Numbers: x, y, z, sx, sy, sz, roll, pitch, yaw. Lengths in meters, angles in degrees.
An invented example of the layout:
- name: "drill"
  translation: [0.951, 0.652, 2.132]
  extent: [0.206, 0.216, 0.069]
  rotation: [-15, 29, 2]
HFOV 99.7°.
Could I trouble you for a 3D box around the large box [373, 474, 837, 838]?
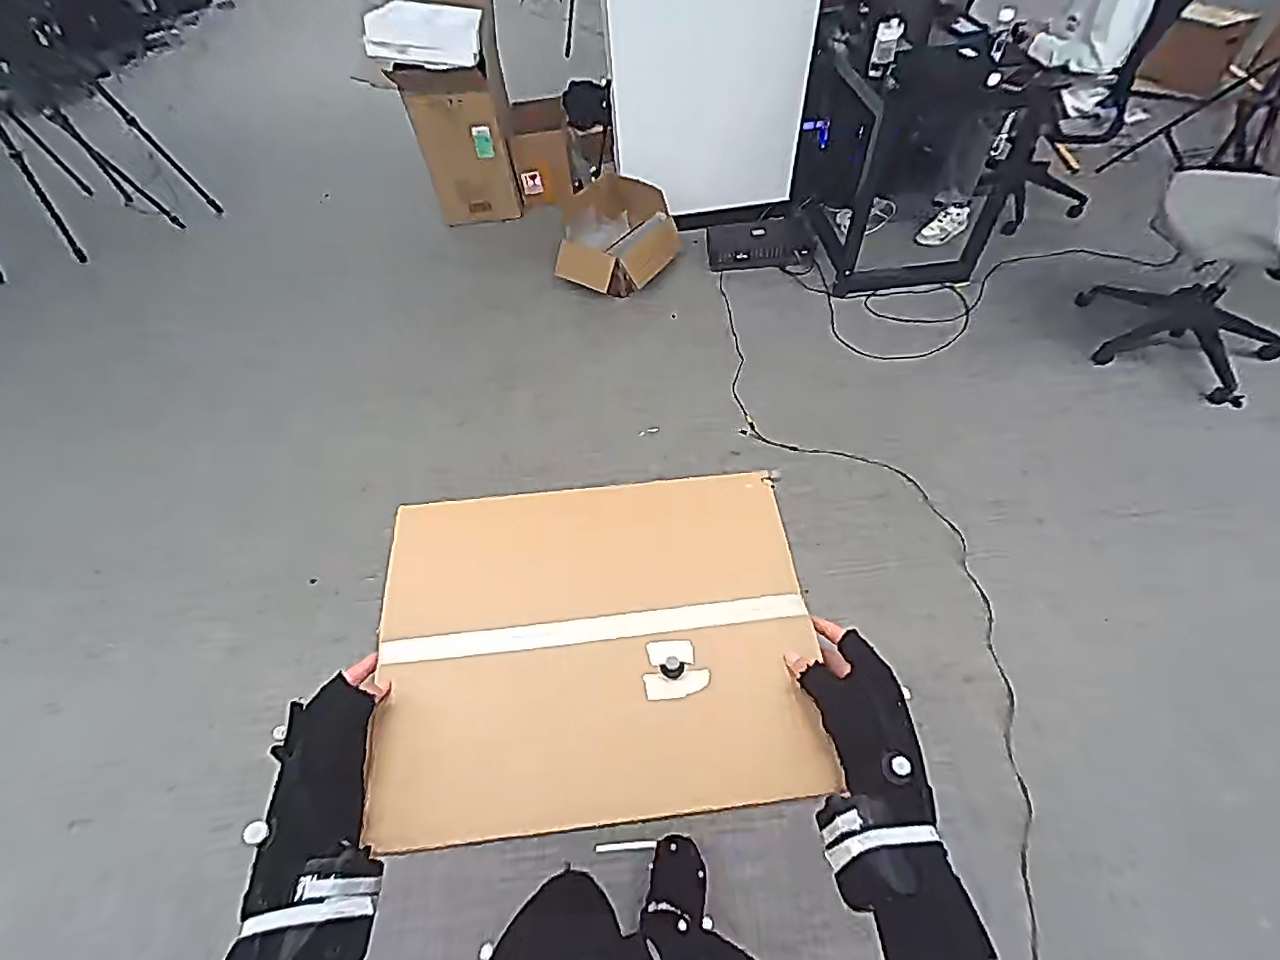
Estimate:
- name: "large box"
  translation: [-0.043, 0.220, 0.657]
  extent: [0.408, 0.320, 0.320]
  rotation: [-5, 59, -3]
